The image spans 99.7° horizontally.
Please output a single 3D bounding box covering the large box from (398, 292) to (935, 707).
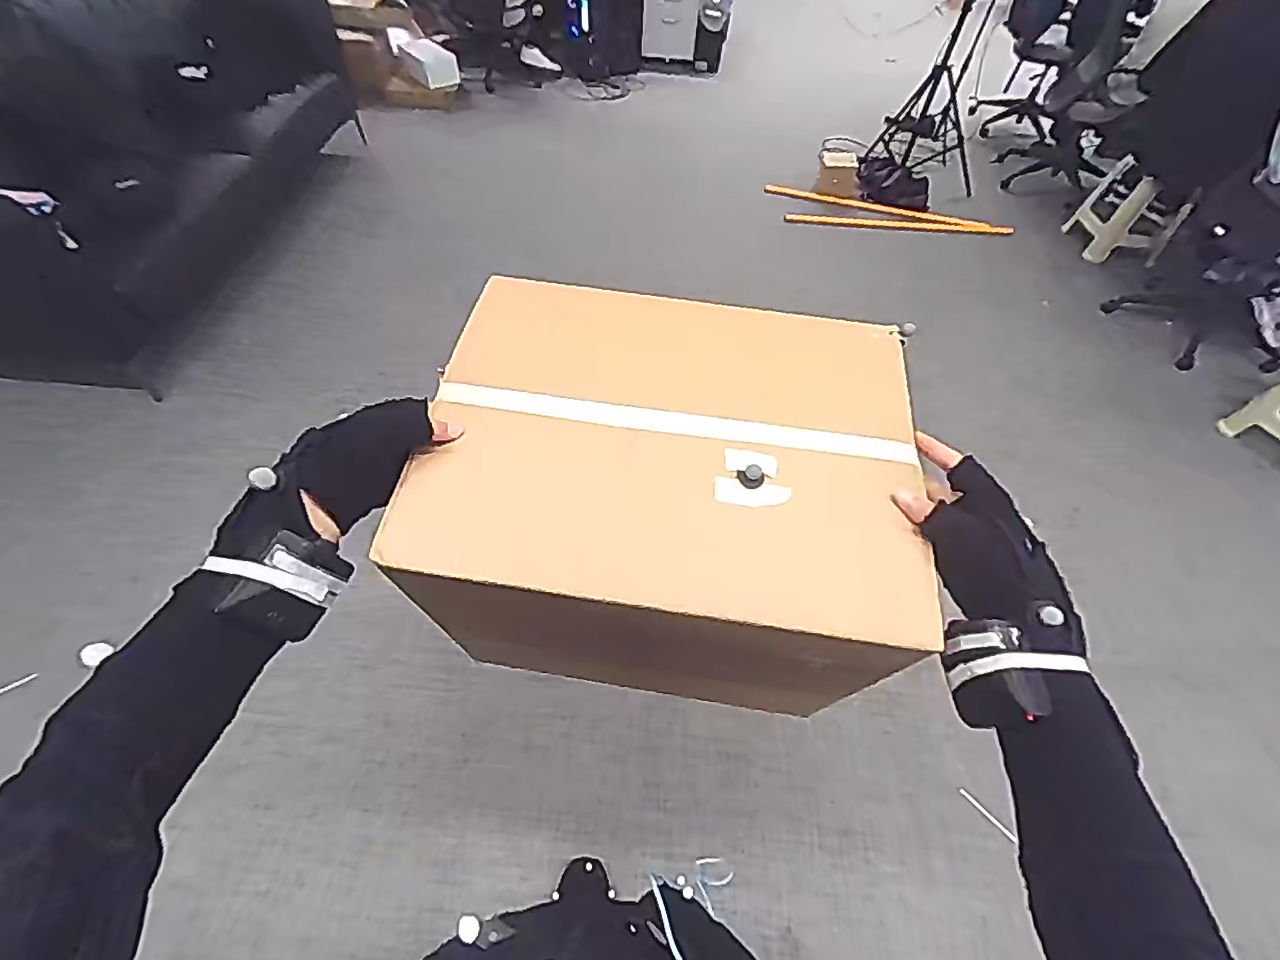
[{"bbox_3d":[0.026,0.037,0.594,0.408,0.320,0.320,8,59,2],"label":"large box"}]
